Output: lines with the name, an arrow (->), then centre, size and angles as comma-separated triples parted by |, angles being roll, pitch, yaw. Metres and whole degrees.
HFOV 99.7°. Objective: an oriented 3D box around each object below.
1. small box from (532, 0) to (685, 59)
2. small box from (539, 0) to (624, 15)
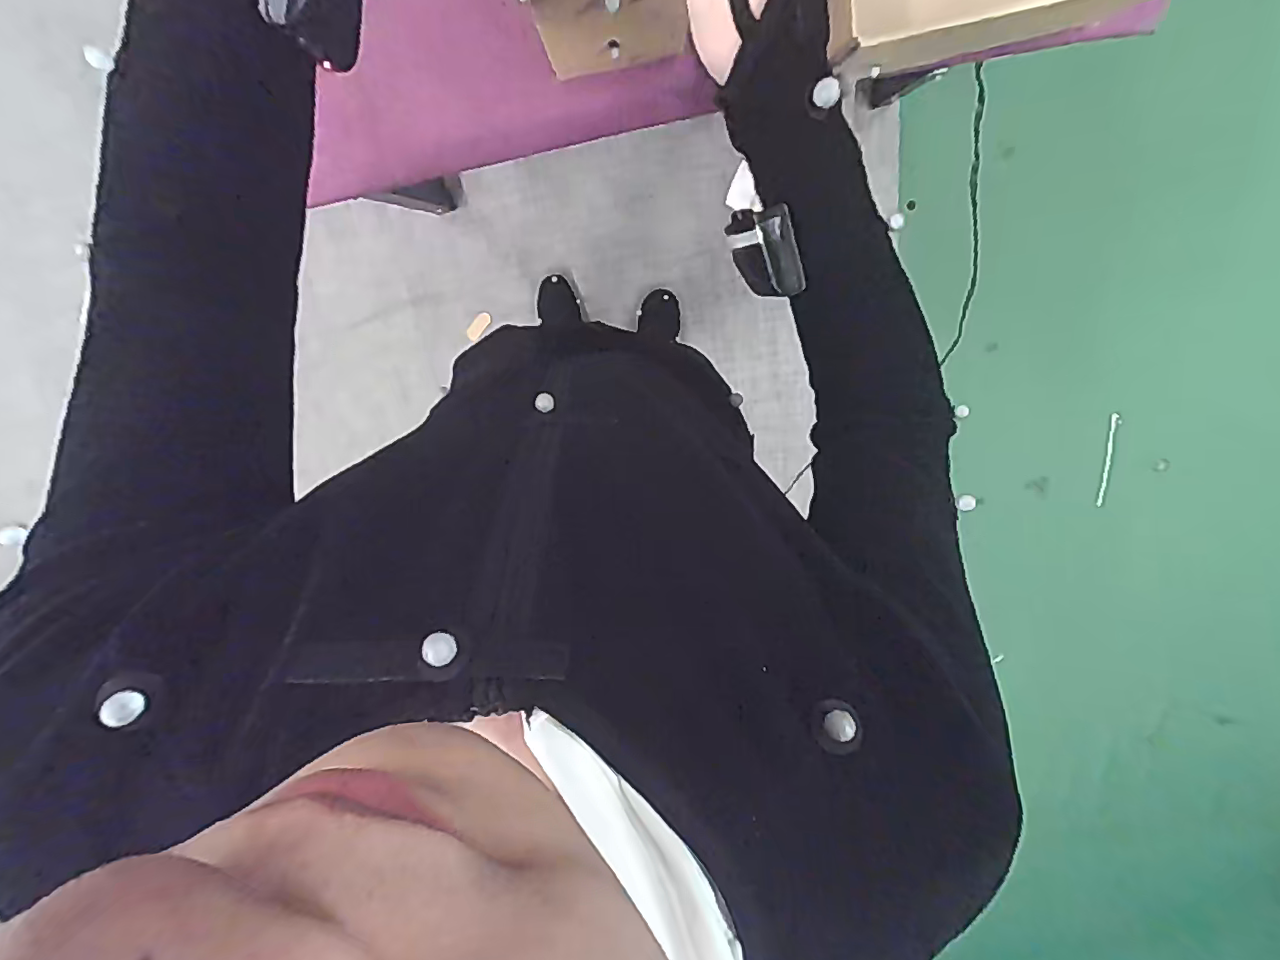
small box -> -0.041, -0.591, 0.586 | 0.168, 0.176, 0.179 | -10, 112, 3
small box -> -0.037, -0.528, 0.435 | 0.168, 0.176, 0.179 | -9, 113, 4
